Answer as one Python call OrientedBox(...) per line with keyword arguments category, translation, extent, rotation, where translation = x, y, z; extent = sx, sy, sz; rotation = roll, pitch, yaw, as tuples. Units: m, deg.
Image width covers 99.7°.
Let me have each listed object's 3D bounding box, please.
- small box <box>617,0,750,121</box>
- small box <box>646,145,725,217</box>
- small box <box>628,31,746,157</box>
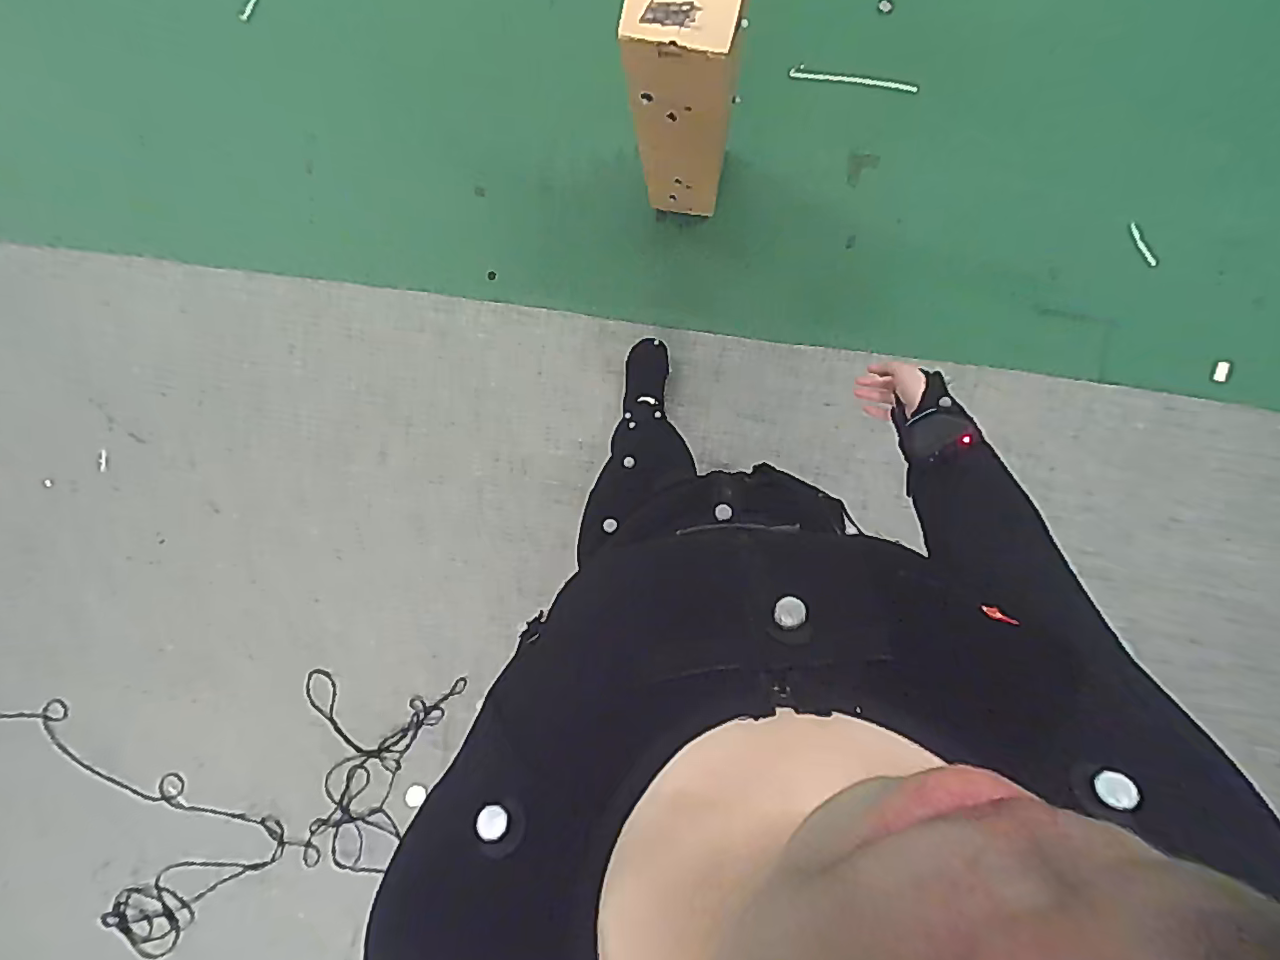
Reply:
OrientedBox(category="small box", translation=(0.074, -0.700, 0.838), extent=(0.168, 0.176, 0.179), rotation=(15, 97, 4))
OrientedBox(category="small box", translation=(0.116, -0.769, 1.324), extent=(0.168, 0.176, 0.179), rotation=(10, 96, 4))
OrientedBox(category="small box", translation=(0.087, -0.729, 0.999), extent=(0.179, 0.176, 0.168), rotation=(13, 98, 4))
